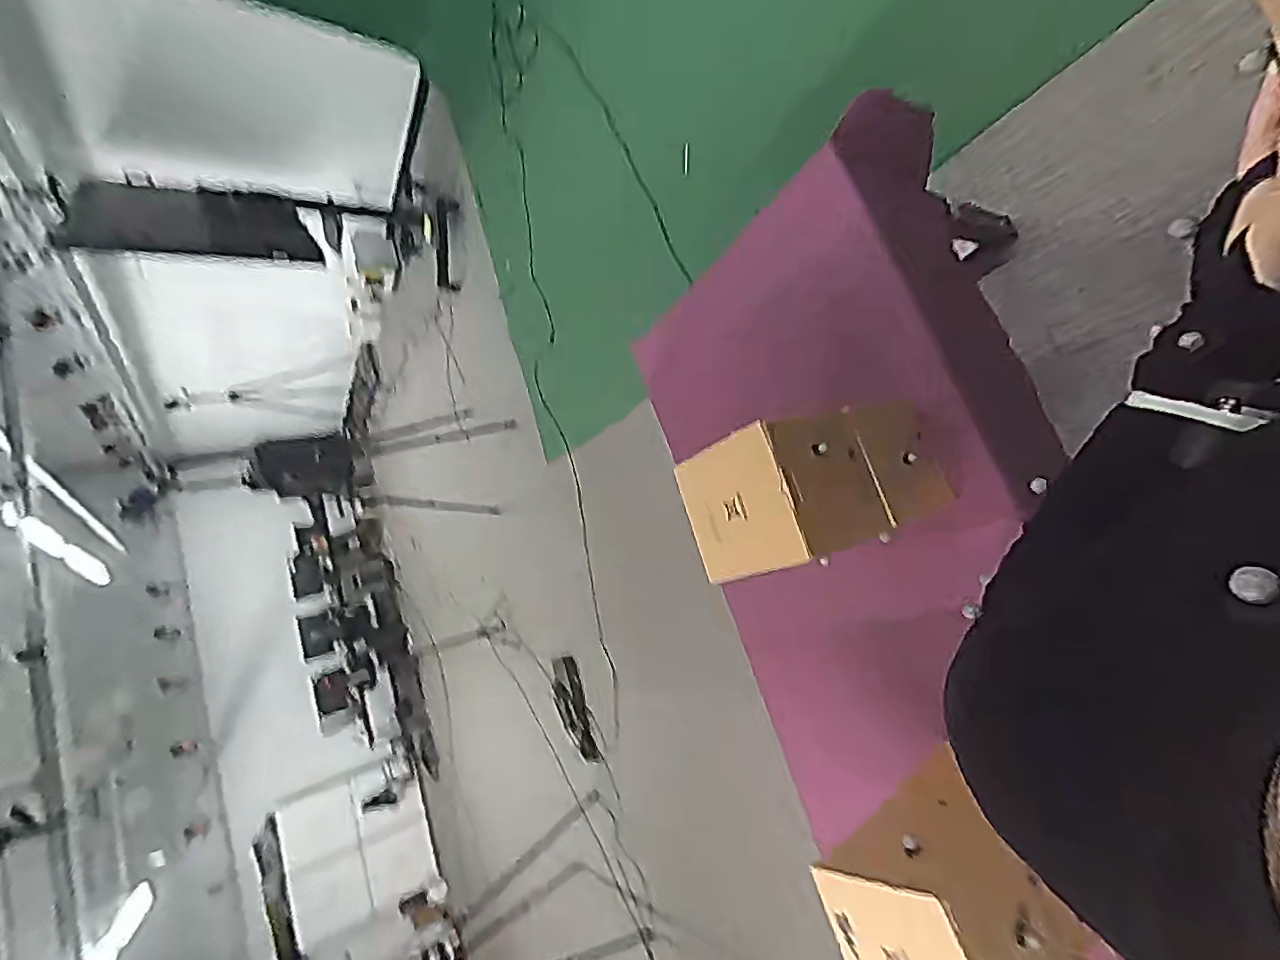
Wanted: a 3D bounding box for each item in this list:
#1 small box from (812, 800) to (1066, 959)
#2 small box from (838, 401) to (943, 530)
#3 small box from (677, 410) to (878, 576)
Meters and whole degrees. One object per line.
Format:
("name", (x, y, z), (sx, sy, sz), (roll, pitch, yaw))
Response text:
("small box", (0.339, 0.489, 0.614), (0.179, 0.176, 0.168), (-38, 66, 51))
("small box", (0.317, -0.008, 0.804), (0.179, 0.176, 0.168), (-33, 71, 53))
("small box", (0.184, 0.016, 0.713), (0.179, 0.176, 0.168), (-30, 74, 53))
